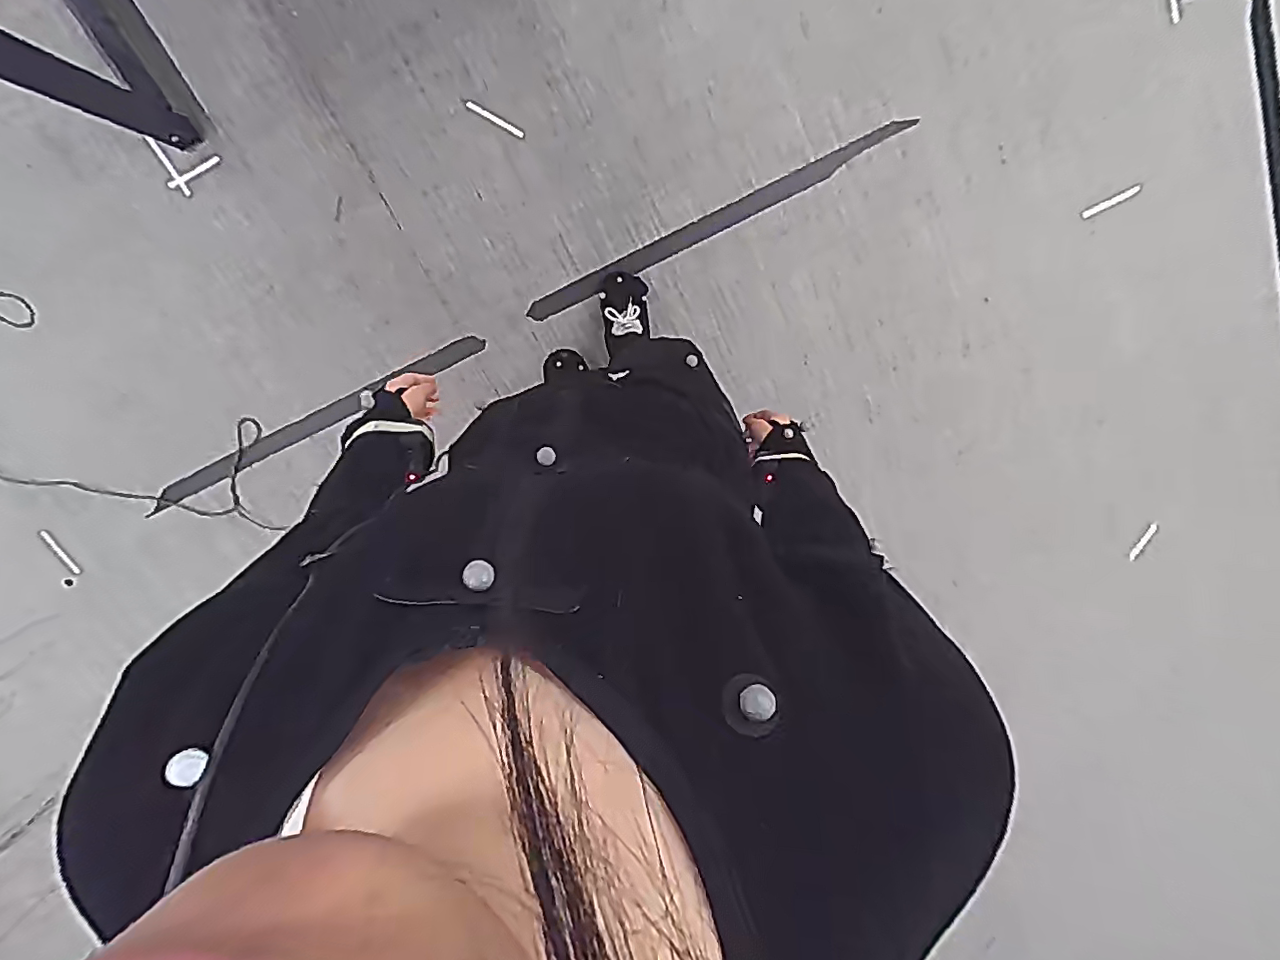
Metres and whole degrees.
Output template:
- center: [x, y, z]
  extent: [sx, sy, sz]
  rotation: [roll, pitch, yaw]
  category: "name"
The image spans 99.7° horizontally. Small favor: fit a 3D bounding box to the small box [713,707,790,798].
- center: [0.345, 0.847, 1.703]
  extent: [0.168, 0.176, 0.179]
  rotation: [-26, 107, 6]
  category: "small box"
